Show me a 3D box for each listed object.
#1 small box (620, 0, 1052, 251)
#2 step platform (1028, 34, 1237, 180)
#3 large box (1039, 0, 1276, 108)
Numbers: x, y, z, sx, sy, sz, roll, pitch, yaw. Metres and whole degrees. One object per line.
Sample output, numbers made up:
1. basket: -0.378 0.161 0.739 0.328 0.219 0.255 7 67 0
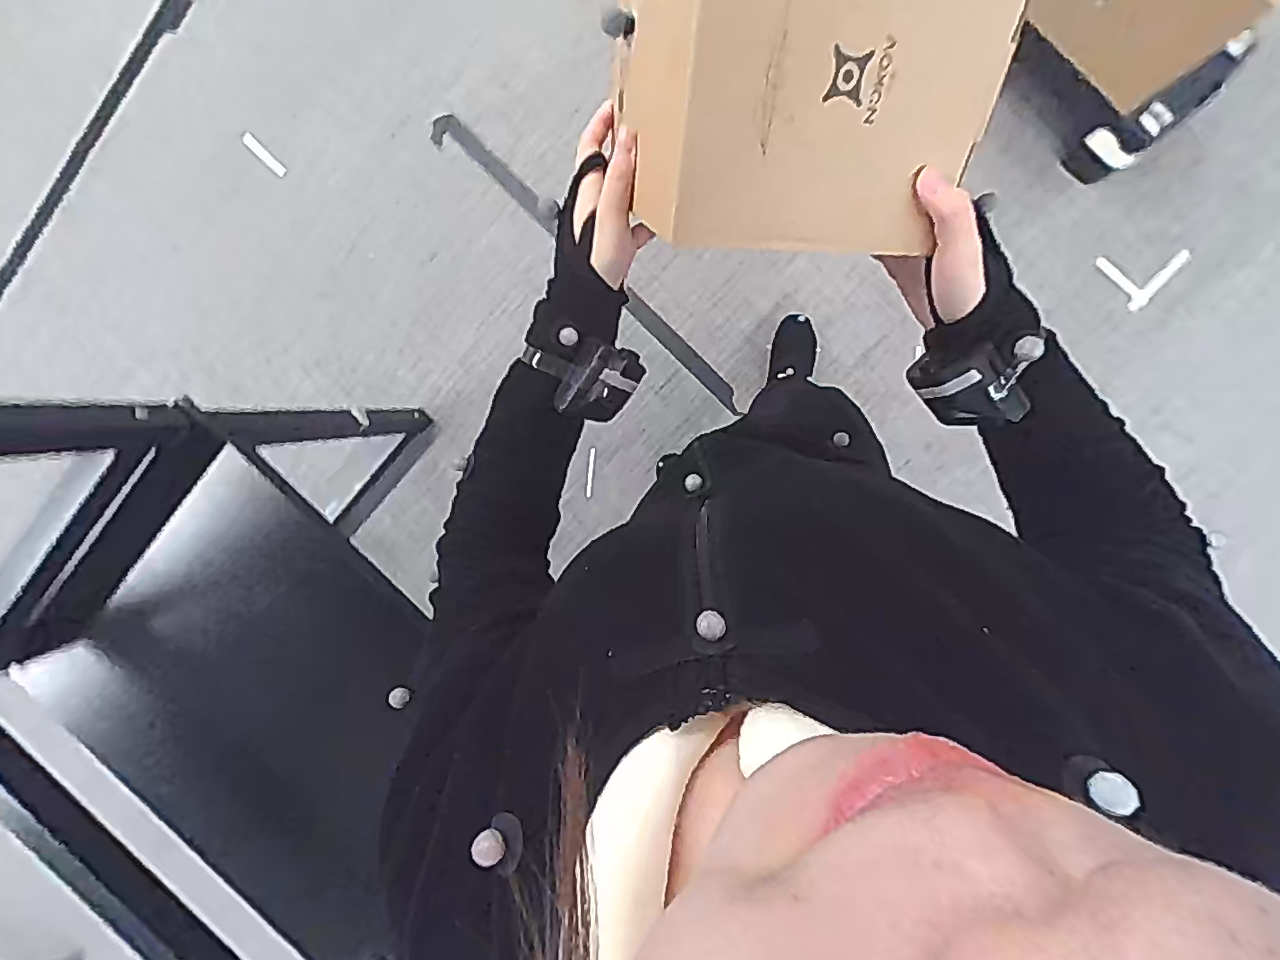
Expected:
1. small box: 0.096 -0.247 0.324 0.179 0.176 0.168 -3 125 -14
2. step platform: 0.910 -1.033 1.182 0.286 0.204 0.684 -41 90 9
3. large box: 0.935 -0.981 0.944 0.408 0.320 0.320 44 99 1
